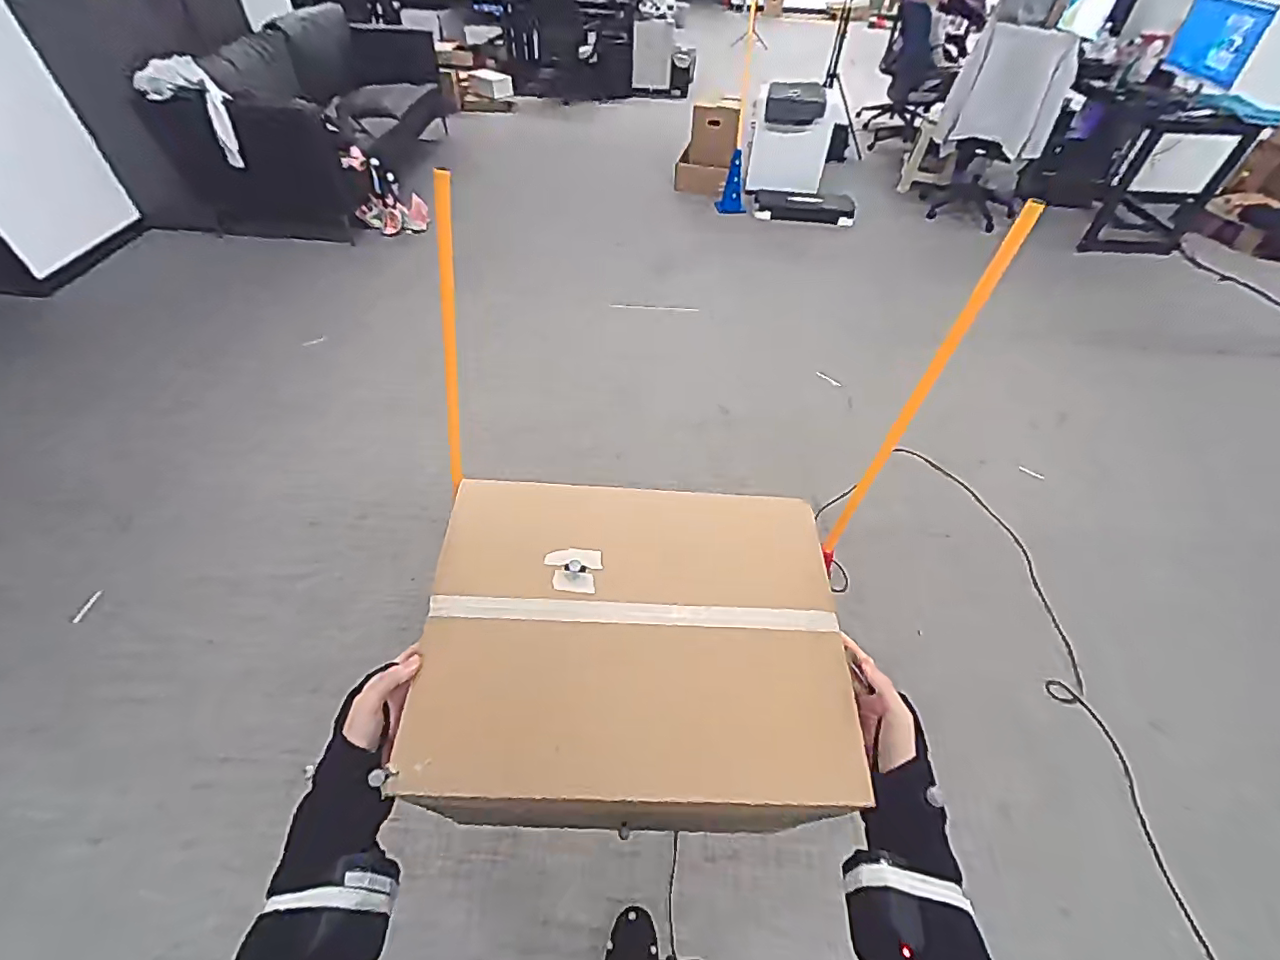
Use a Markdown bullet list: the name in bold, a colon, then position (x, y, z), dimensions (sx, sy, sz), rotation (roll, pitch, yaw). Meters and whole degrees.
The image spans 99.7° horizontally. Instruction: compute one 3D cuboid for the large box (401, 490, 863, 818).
- **large box**: position (-0.010, 0.228, 0.666), dimensions (0.408, 0.320, 0.320), rotation (3, 53, -3)
